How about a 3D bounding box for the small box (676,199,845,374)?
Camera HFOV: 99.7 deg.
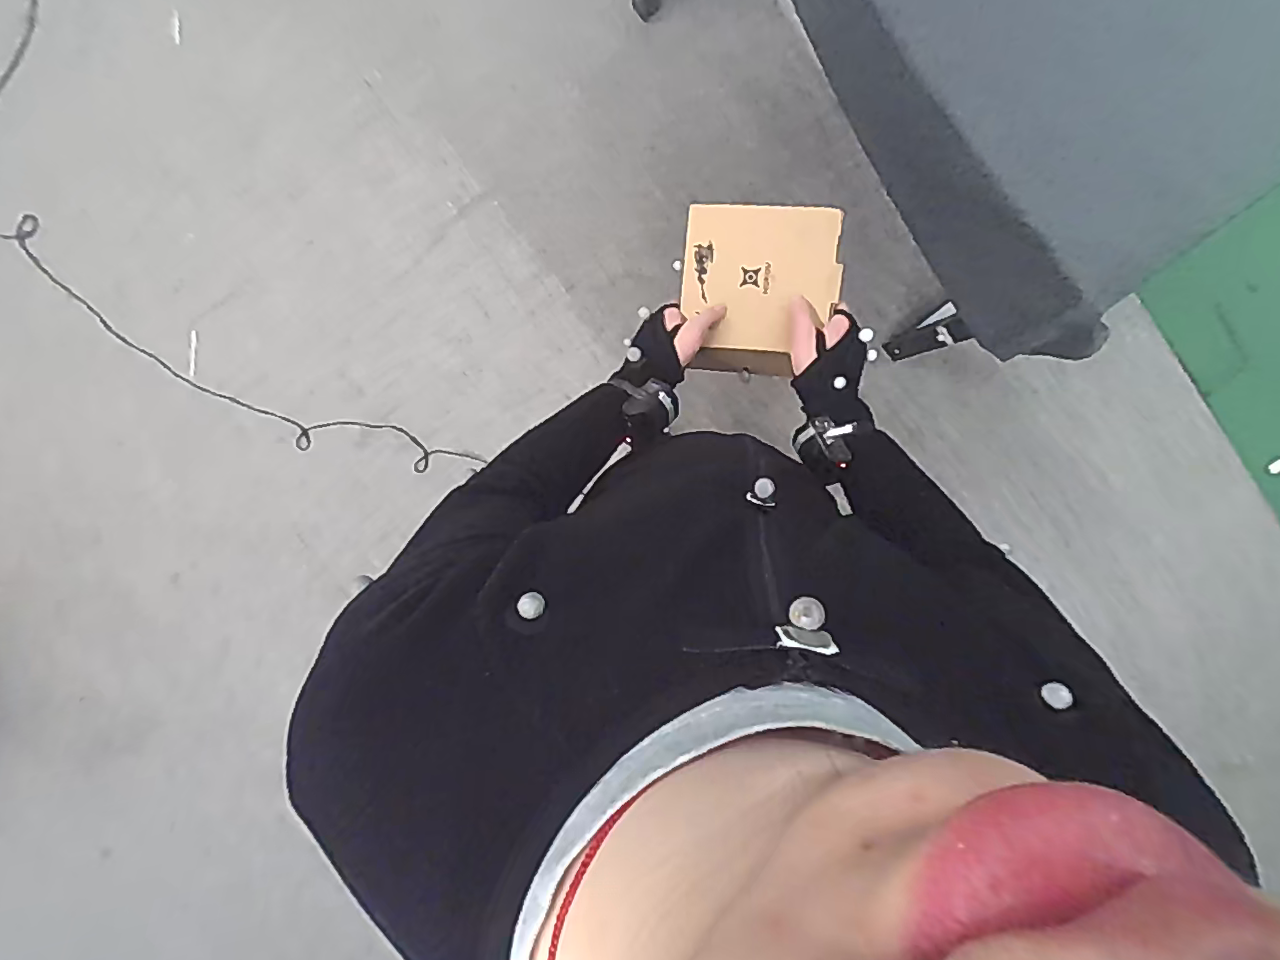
[{"bbox_3d":[0.143,-0.235,0.695,0.179,0.176,0.168,6,93,5],"label":"small box"}]
